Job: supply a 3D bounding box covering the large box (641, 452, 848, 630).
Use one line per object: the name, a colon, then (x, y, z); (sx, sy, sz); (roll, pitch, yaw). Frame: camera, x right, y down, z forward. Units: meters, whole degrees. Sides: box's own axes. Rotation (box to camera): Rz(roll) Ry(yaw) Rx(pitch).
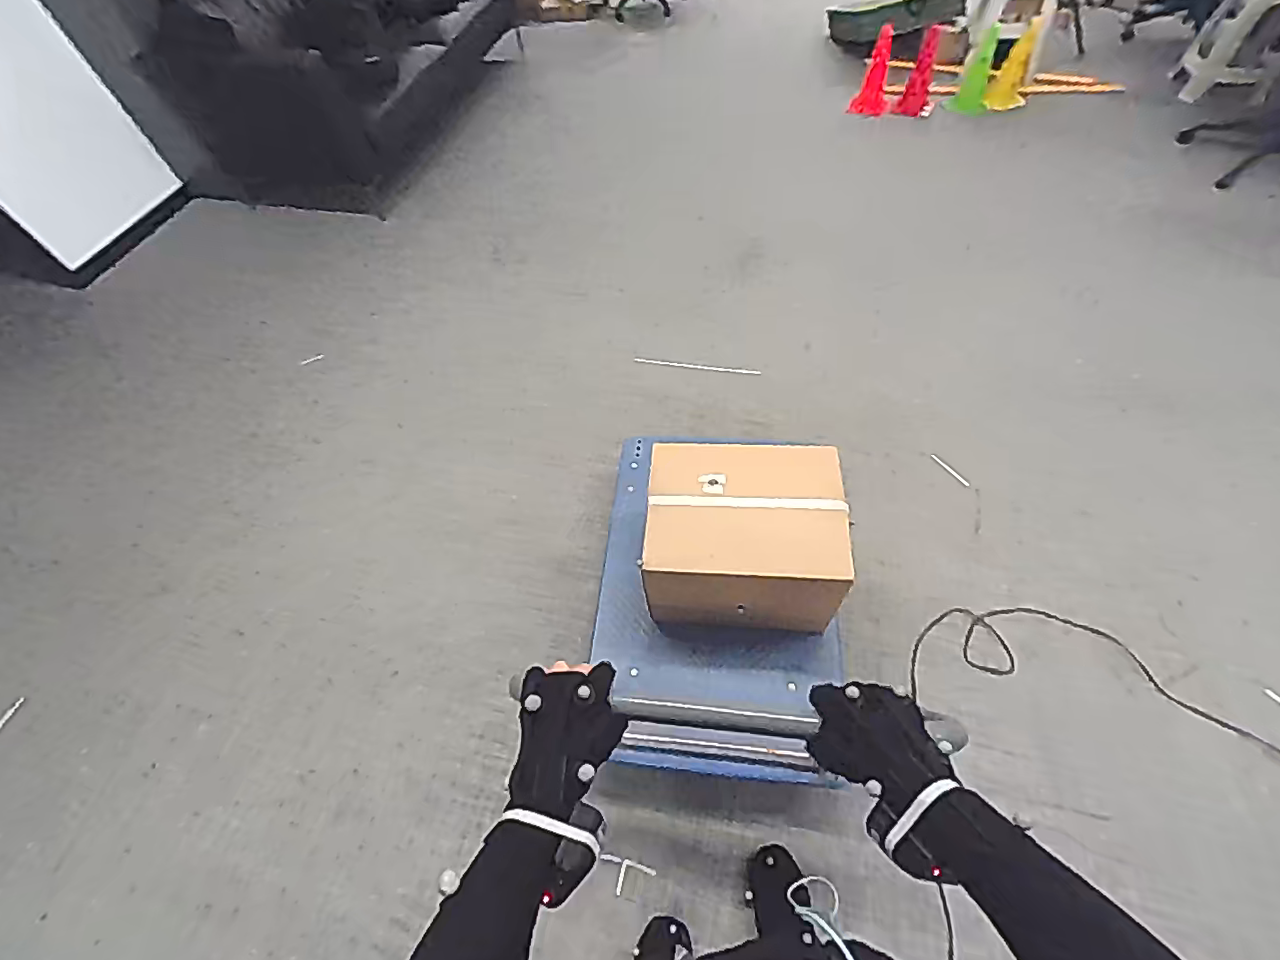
large box: (0.229, 0.148, 1.250); (0.408, 0.320, 0.320); (1, 56, 8)
